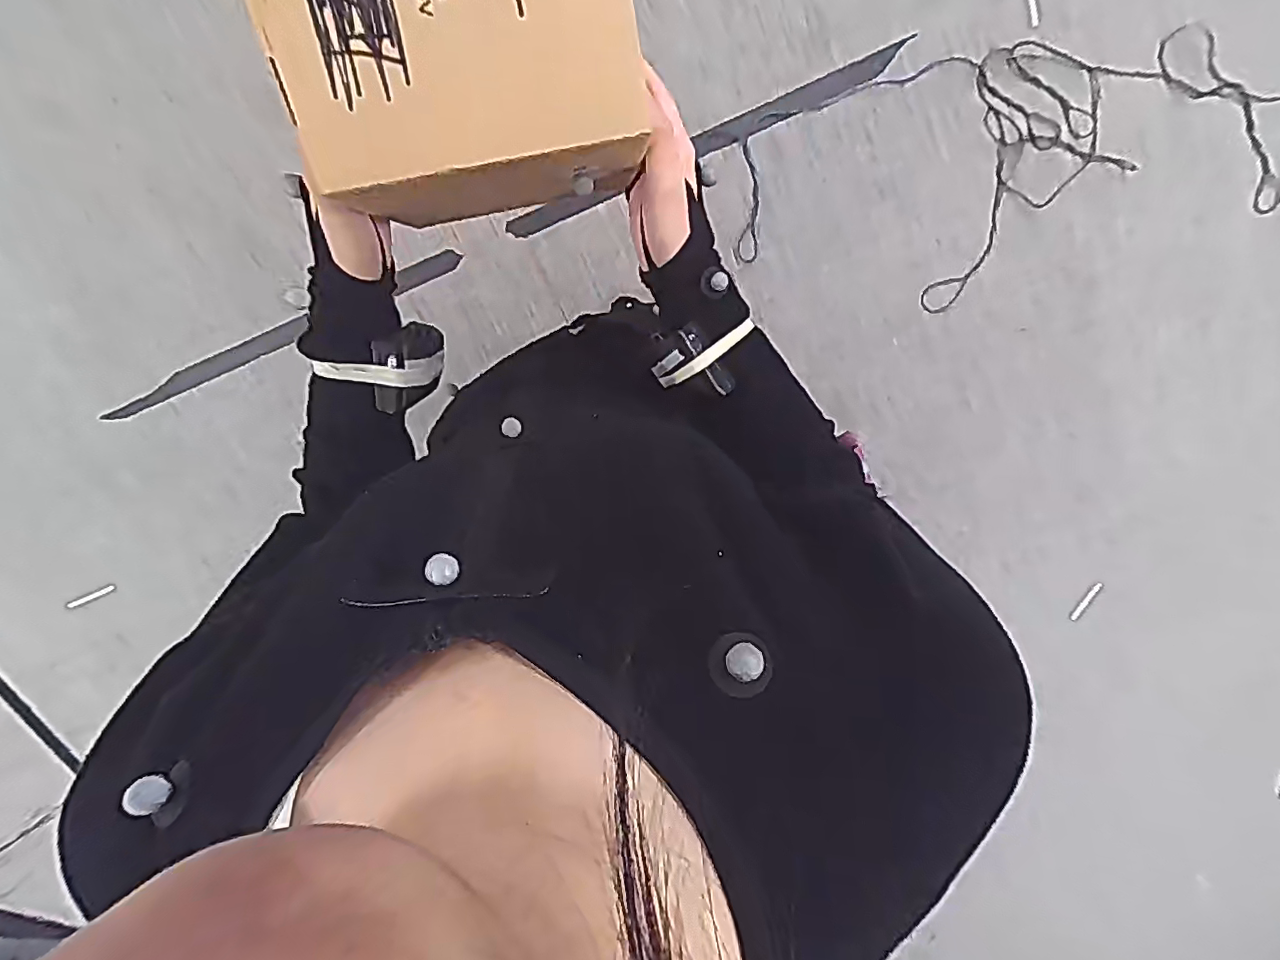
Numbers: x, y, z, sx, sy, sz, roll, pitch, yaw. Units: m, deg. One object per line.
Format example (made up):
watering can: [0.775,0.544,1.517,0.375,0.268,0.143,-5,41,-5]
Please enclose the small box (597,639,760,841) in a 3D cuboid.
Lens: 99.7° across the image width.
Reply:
small box: [0.051,0.359,0.772,0.179,0.176,0.168,-20,106,4]
